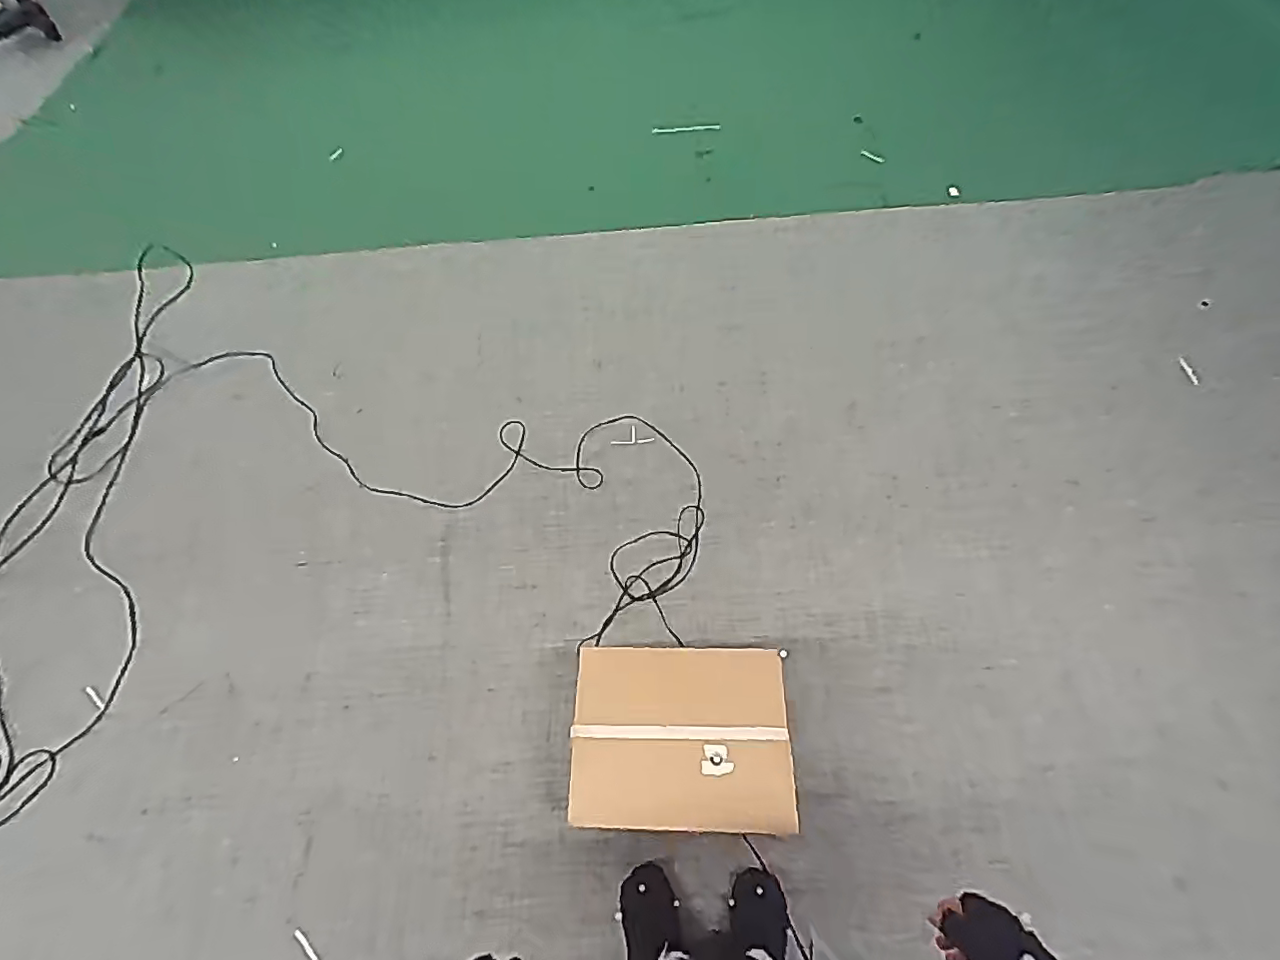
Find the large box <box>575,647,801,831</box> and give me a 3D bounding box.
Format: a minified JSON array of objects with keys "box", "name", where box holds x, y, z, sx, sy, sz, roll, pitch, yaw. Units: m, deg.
[{"box":[0.090,0.549,1.142,0.408,0.320,0.320,-1,60,4],"name":"large box"}]
